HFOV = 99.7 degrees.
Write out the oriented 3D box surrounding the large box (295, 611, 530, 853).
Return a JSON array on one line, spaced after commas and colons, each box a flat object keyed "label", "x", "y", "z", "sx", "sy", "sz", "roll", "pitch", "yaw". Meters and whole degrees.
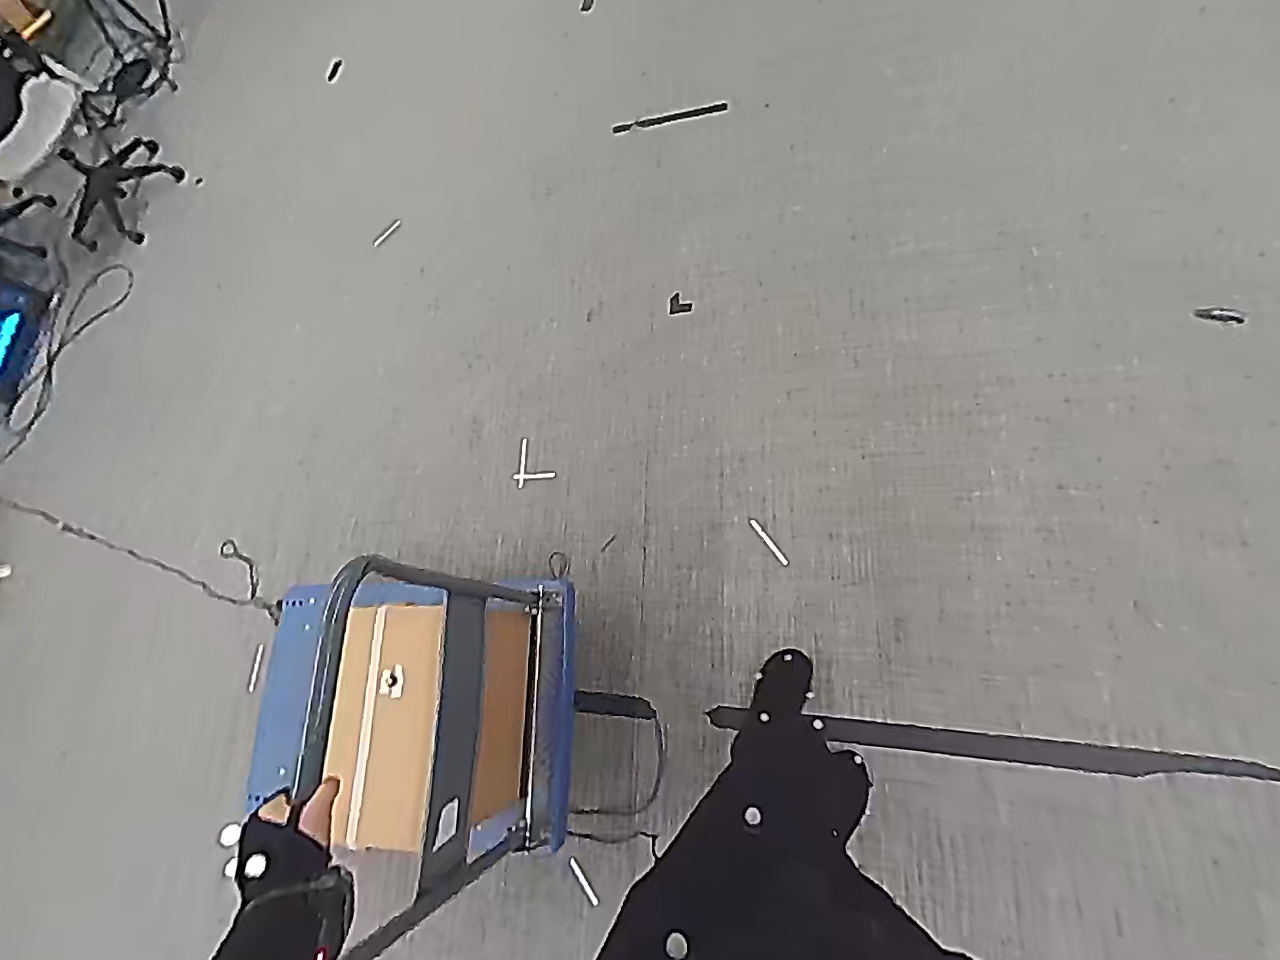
[{"label": "large box", "x": -0.444, "y": 0.495, "z": 1.136, "sx": 0.320, "sy": 0.320, "sz": 0.408, "roll": -5, "pitch": 72, "yaw": 15}]
